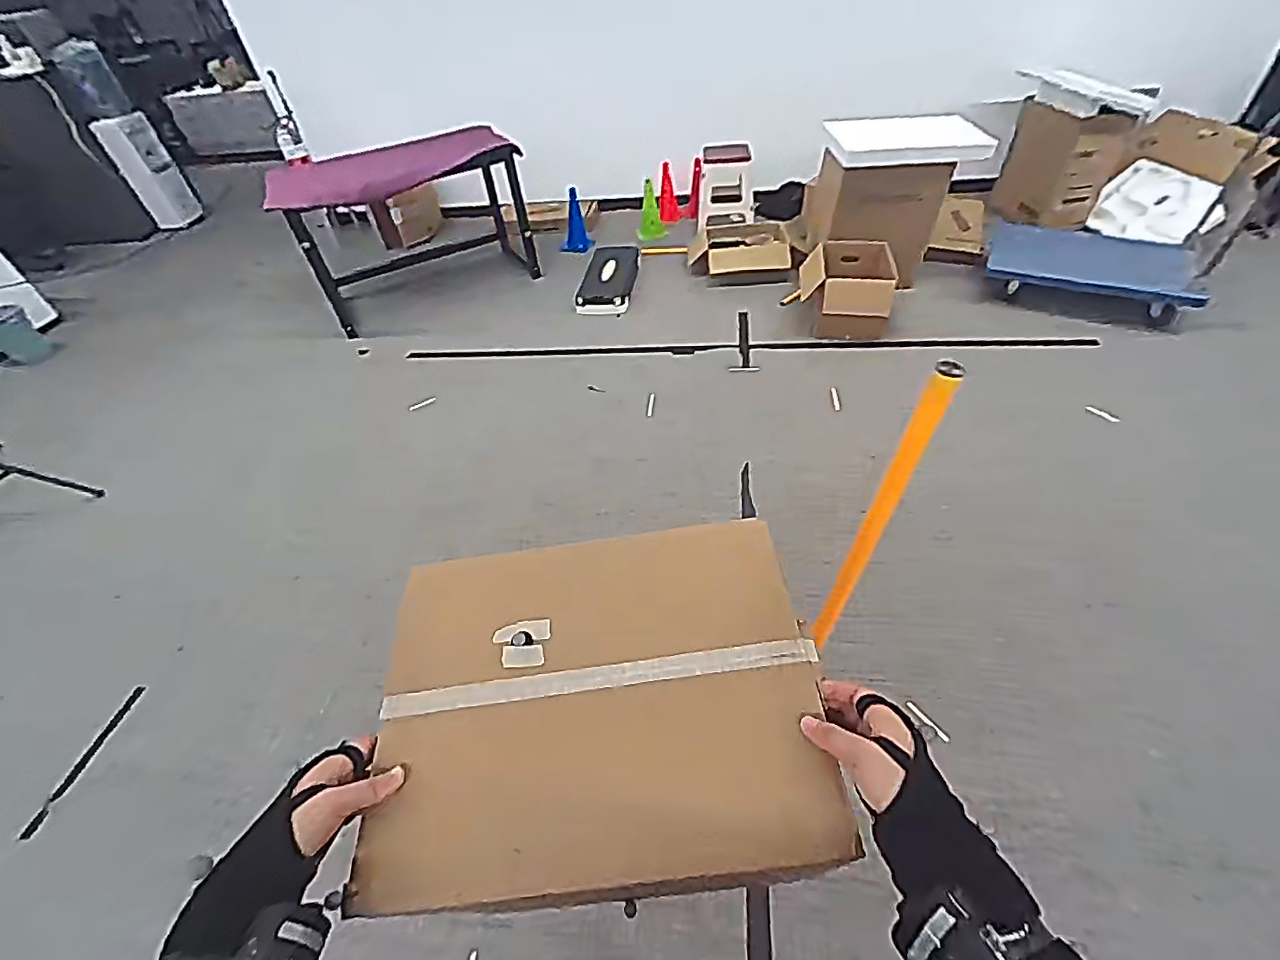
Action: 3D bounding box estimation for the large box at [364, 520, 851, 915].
[{"bbox_3d":[-0.022,0.287,0.635,0.408,0.320,0.320,-10,50,3],"label":"large box"}]
